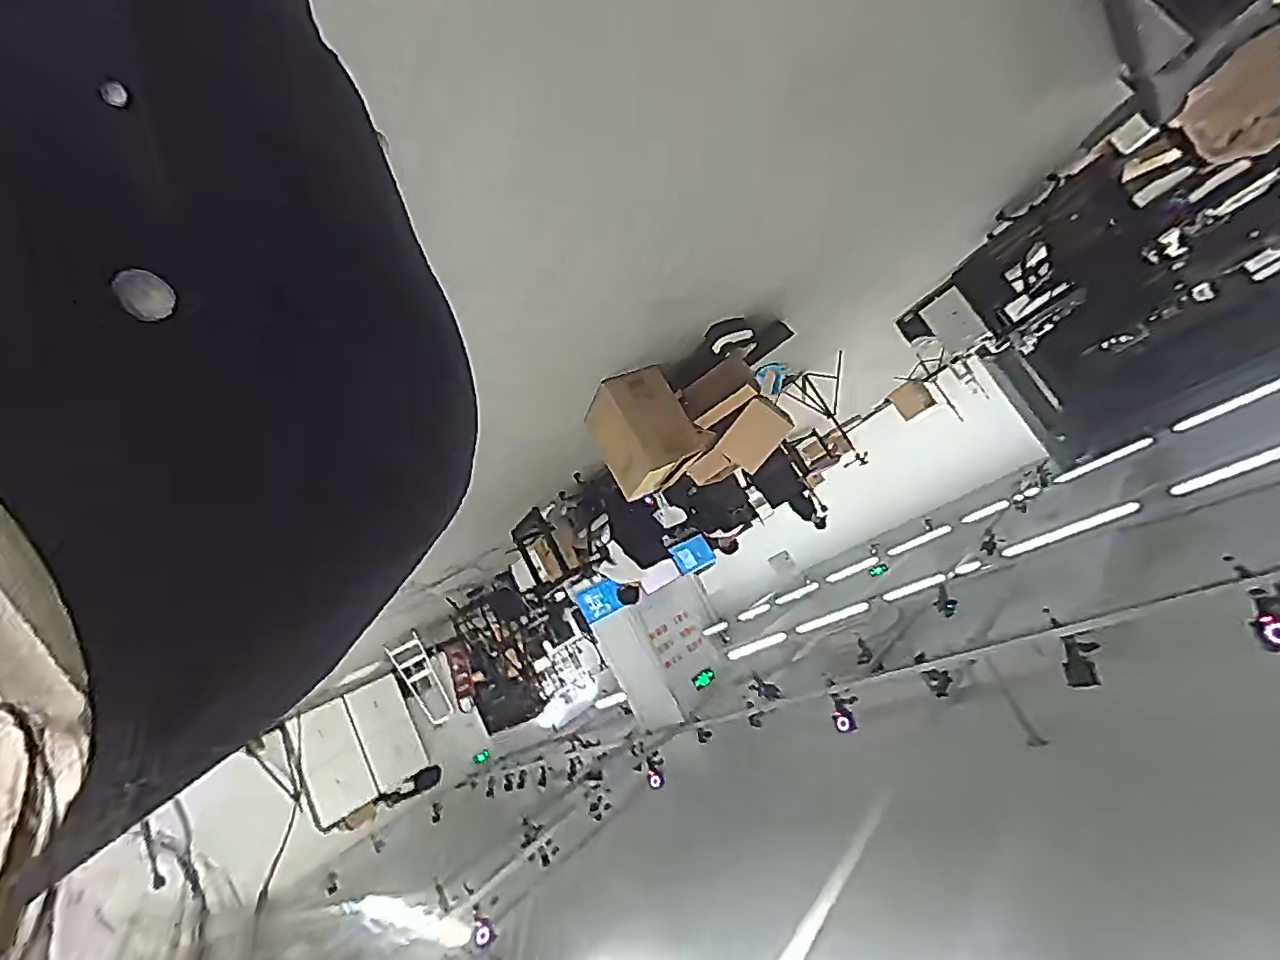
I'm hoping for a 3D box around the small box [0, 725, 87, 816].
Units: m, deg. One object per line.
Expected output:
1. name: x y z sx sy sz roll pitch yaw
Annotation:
1. small box: -1.794 0.864 1.611 0.179 0.176 0.168 -15 164 -47
